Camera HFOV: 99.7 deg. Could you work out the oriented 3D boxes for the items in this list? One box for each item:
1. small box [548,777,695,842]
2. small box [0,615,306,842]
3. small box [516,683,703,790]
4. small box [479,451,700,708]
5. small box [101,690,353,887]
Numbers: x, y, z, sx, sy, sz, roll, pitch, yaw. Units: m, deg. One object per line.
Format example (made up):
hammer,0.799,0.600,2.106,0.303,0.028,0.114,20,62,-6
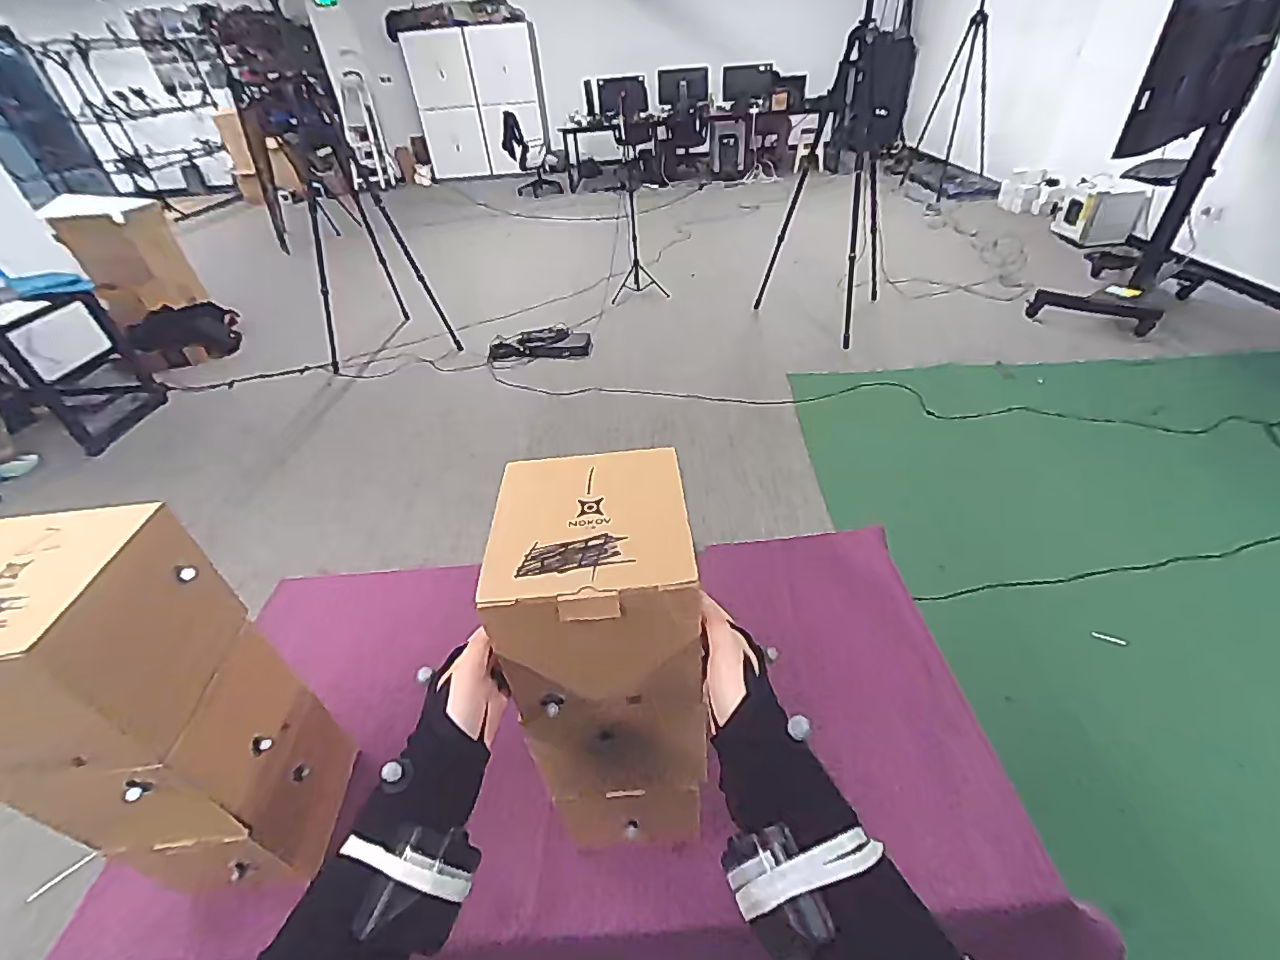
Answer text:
small box,-0.018,0.354,0.711,0.168,0.176,0.179,-4,39,0
small box,-0.519,0.275,0.600,0.179,0.176,0.168,-5,39,-3
small box,-0.026,0.226,0.606,0.179,0.176,0.168,-5,39,0
small box,-0.035,0.095,0.507,0.168,0.176,0.179,-5,38,0
small box,-0.505,0.402,0.701,0.168,0.176,0.179,-4,38,-1
